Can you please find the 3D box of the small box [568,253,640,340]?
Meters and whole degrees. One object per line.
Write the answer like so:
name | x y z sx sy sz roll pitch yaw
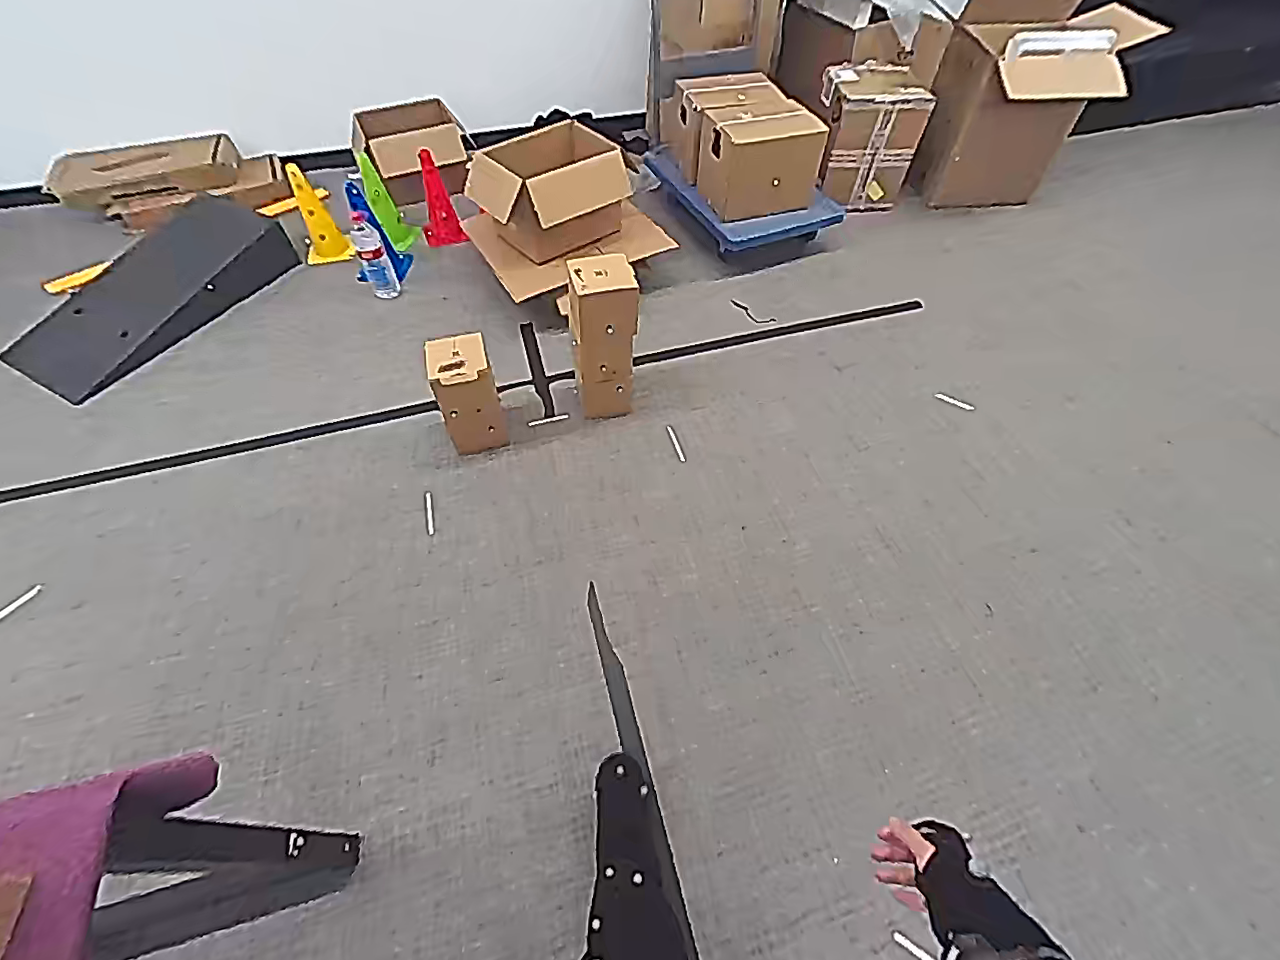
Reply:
small box | -0.108 -0.530 1.569 0.179 0.176 0.168 -11 57 -11

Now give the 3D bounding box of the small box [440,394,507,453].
small box | -0.533 -0.213 1.738 0.179 0.176 0.168 -16 56 -11

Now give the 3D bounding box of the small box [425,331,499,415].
small box | -0.526 -0.310 1.605 0.168 0.176 0.179 -13 54 -10

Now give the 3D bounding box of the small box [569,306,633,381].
small box | -0.125 -0.440 1.706 0.168 0.176 0.179 -13 56 -11

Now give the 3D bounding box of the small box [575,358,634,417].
small box | -0.124 -0.336 1.831 0.179 0.176 0.168 -9 55 -8
